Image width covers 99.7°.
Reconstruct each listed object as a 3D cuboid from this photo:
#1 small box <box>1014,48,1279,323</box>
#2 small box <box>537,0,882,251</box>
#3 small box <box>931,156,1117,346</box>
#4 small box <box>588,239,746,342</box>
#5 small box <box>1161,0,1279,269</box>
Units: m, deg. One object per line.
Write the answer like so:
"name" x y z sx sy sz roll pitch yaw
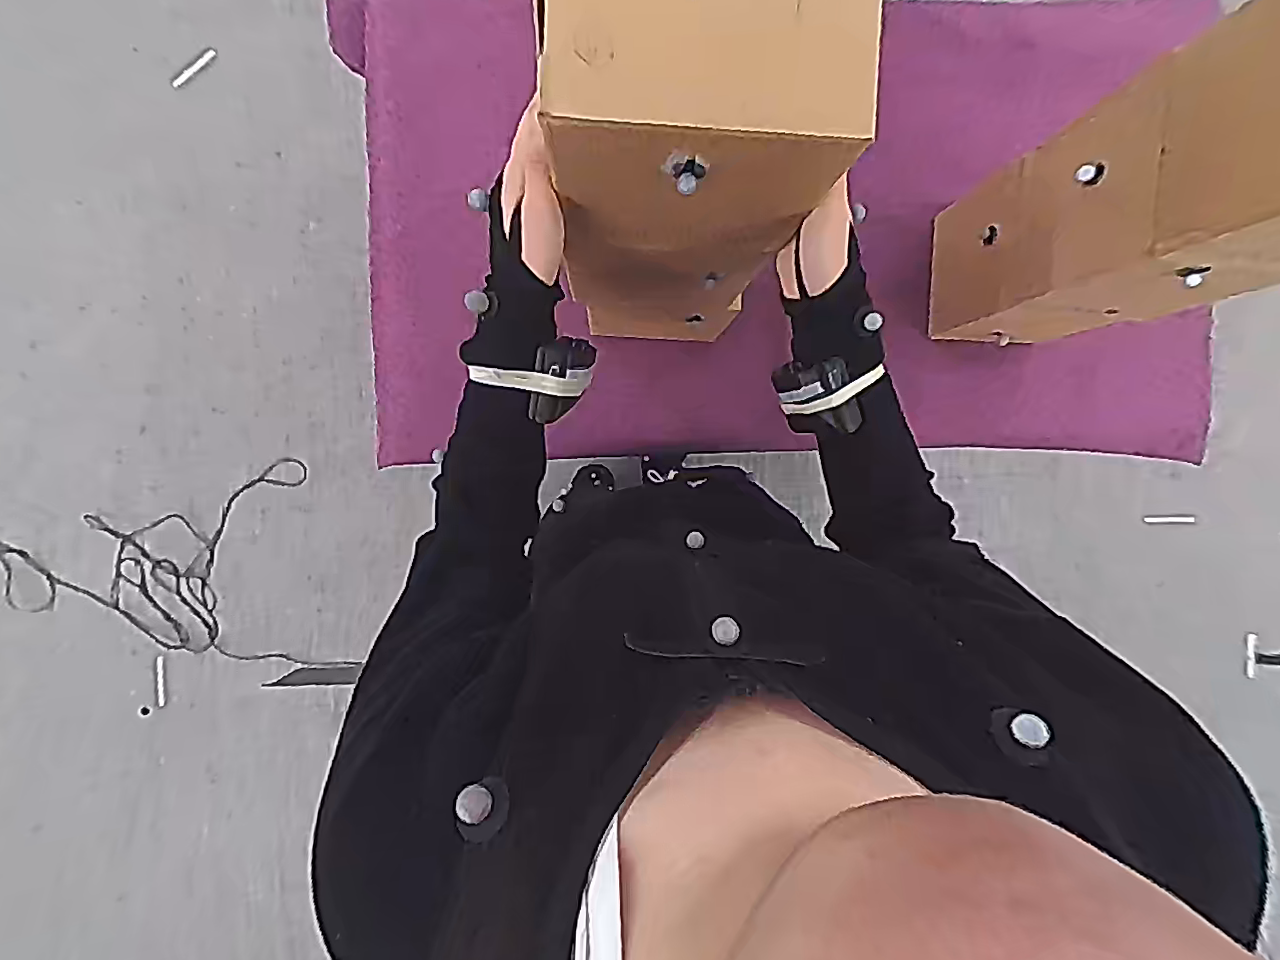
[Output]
"small box" 0.513 -0.273 0.540 0.168 0.176 0.179 4 91 -3
"small box" 0.034 -0.263 0.352 0.179 0.176 0.168 2 93 -4
"small box" 0.506 -0.284 0.703 0.168 0.176 0.179 2 92 -3
"small box" 0.029 -0.275 0.678 0.179 0.176 0.168 3 92 -3
"small box" 0.523 -0.259 0.377 0.168 0.176 0.179 4 92 -2
